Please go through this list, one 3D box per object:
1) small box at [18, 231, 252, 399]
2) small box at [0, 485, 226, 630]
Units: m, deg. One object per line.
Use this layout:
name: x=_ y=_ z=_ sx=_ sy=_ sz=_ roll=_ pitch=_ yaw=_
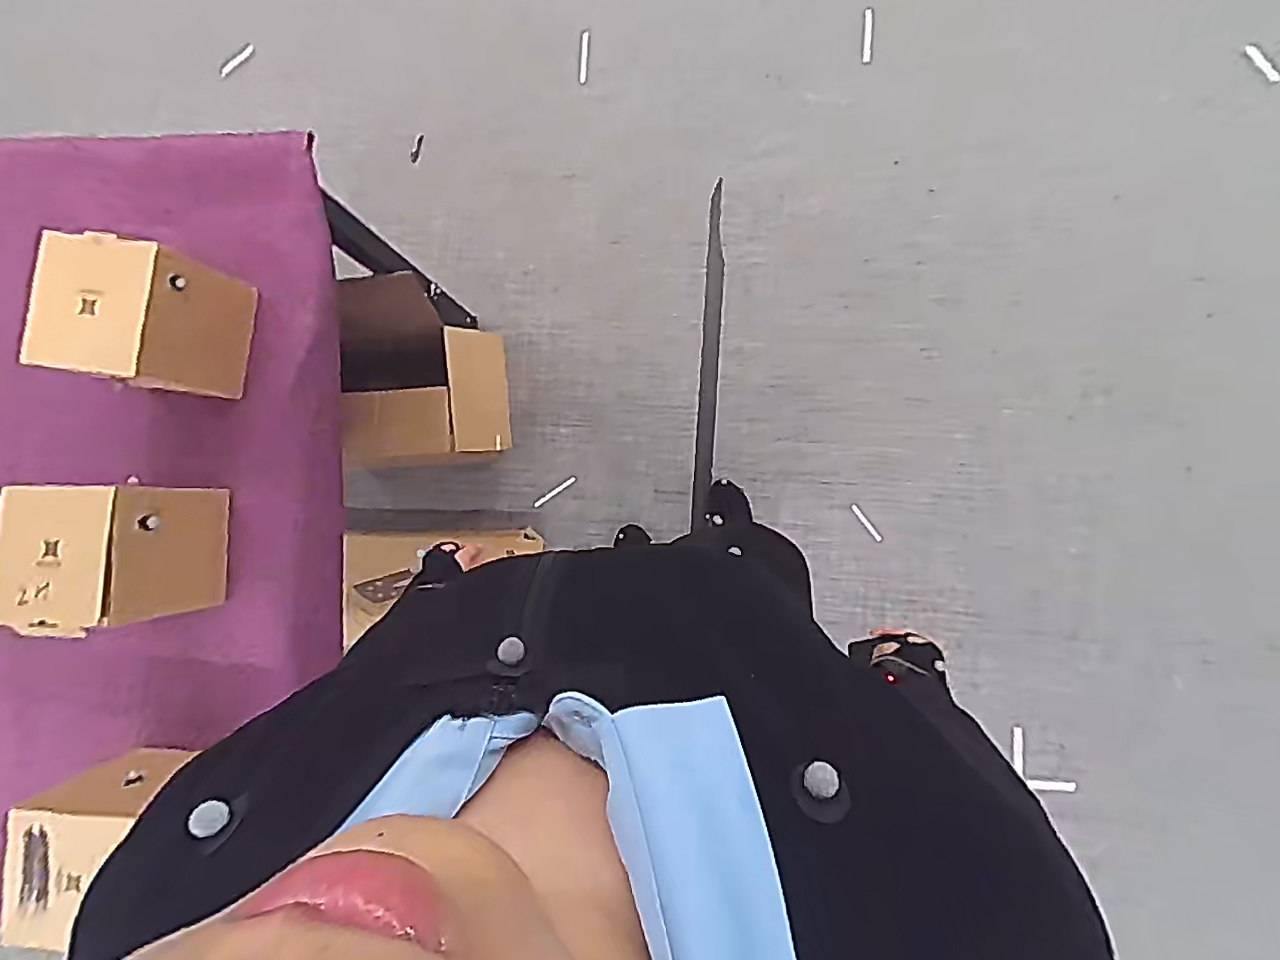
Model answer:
small box: x=-0.689 y=-0.218 z=0.758 sx=0.168 sy=0.176 sz=0.179 roll=7 pitch=88 yaw=5
small box: x=-0.716 y=0.099 z=0.746 sx=0.168 sy=0.176 sz=0.179 roll=0 pitch=88 yaw=7
